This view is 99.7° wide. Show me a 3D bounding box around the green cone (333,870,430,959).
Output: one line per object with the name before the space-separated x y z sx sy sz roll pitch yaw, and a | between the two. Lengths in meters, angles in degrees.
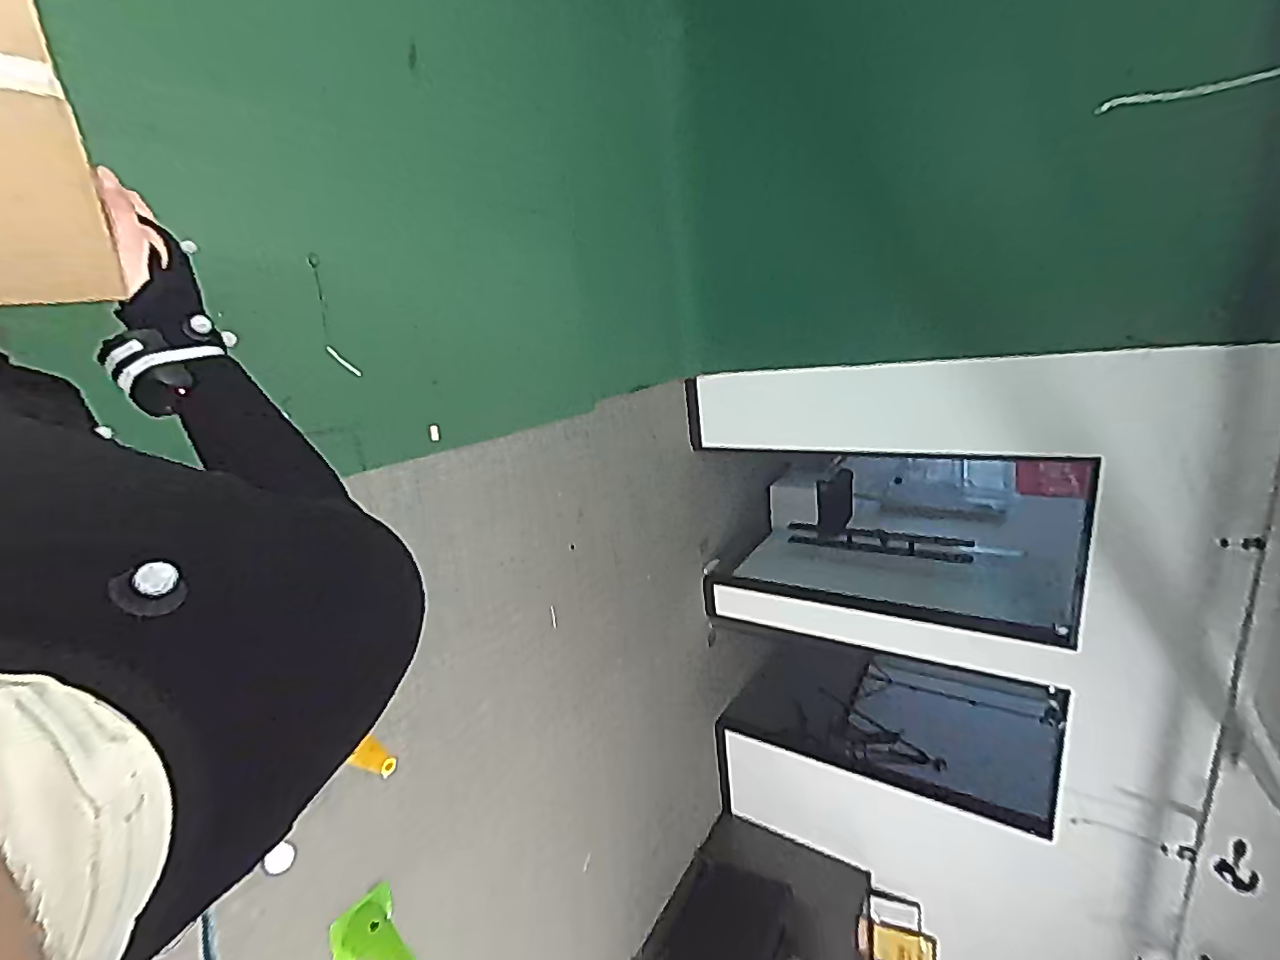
green cone | -0.780 1.472 1.729 0.200 0.368 0.202 -18 107 -54
